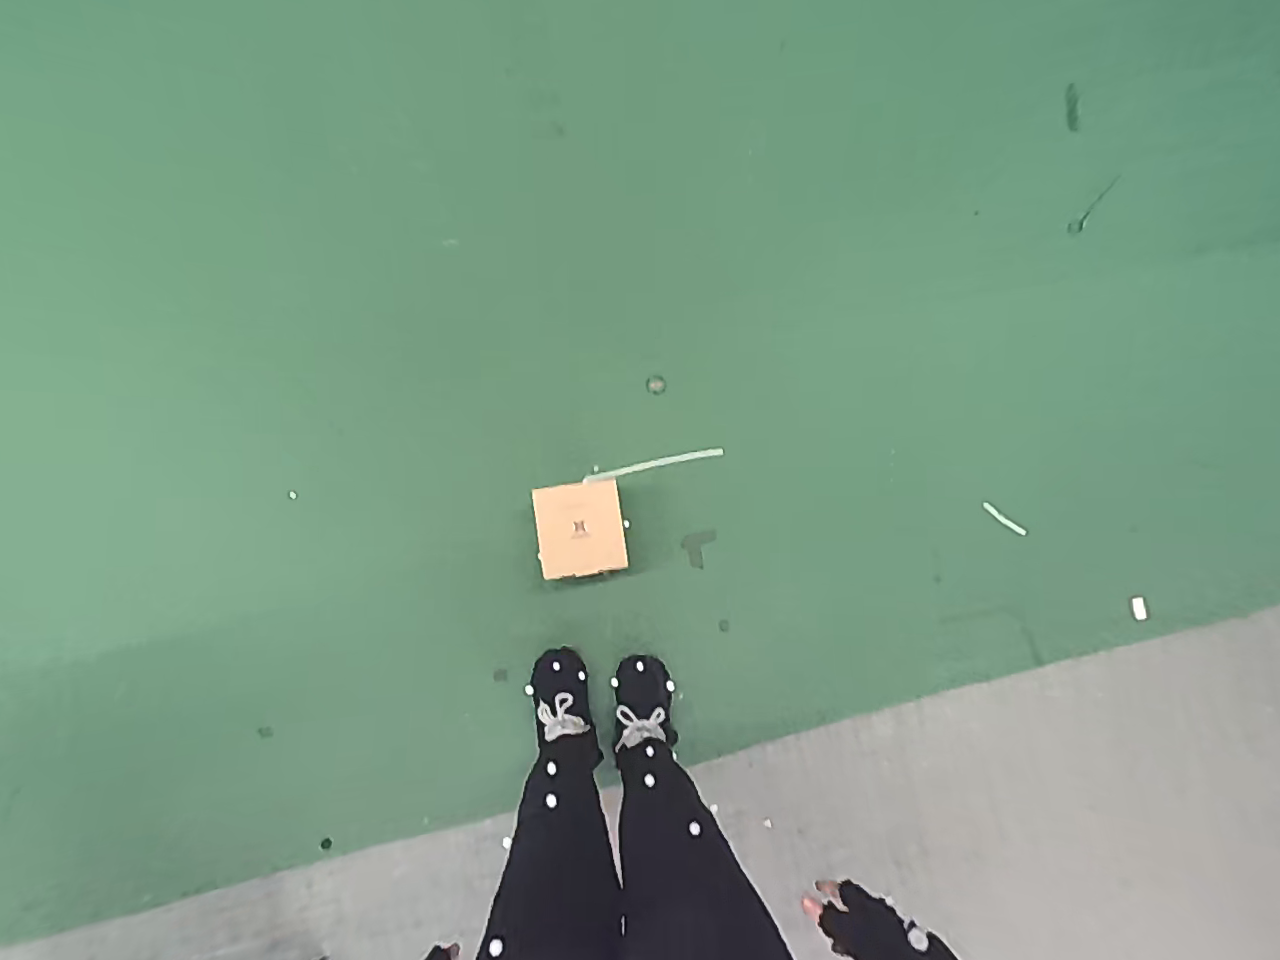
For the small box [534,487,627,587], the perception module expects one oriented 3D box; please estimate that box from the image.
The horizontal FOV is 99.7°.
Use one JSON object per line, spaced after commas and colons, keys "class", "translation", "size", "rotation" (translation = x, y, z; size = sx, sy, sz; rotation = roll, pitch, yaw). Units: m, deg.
{"class": "small box", "translation": [-0.119, 0.116, 1.127], "size": [0.168, 0.176, 0.179], "rotation": [-8, 85, -4]}
